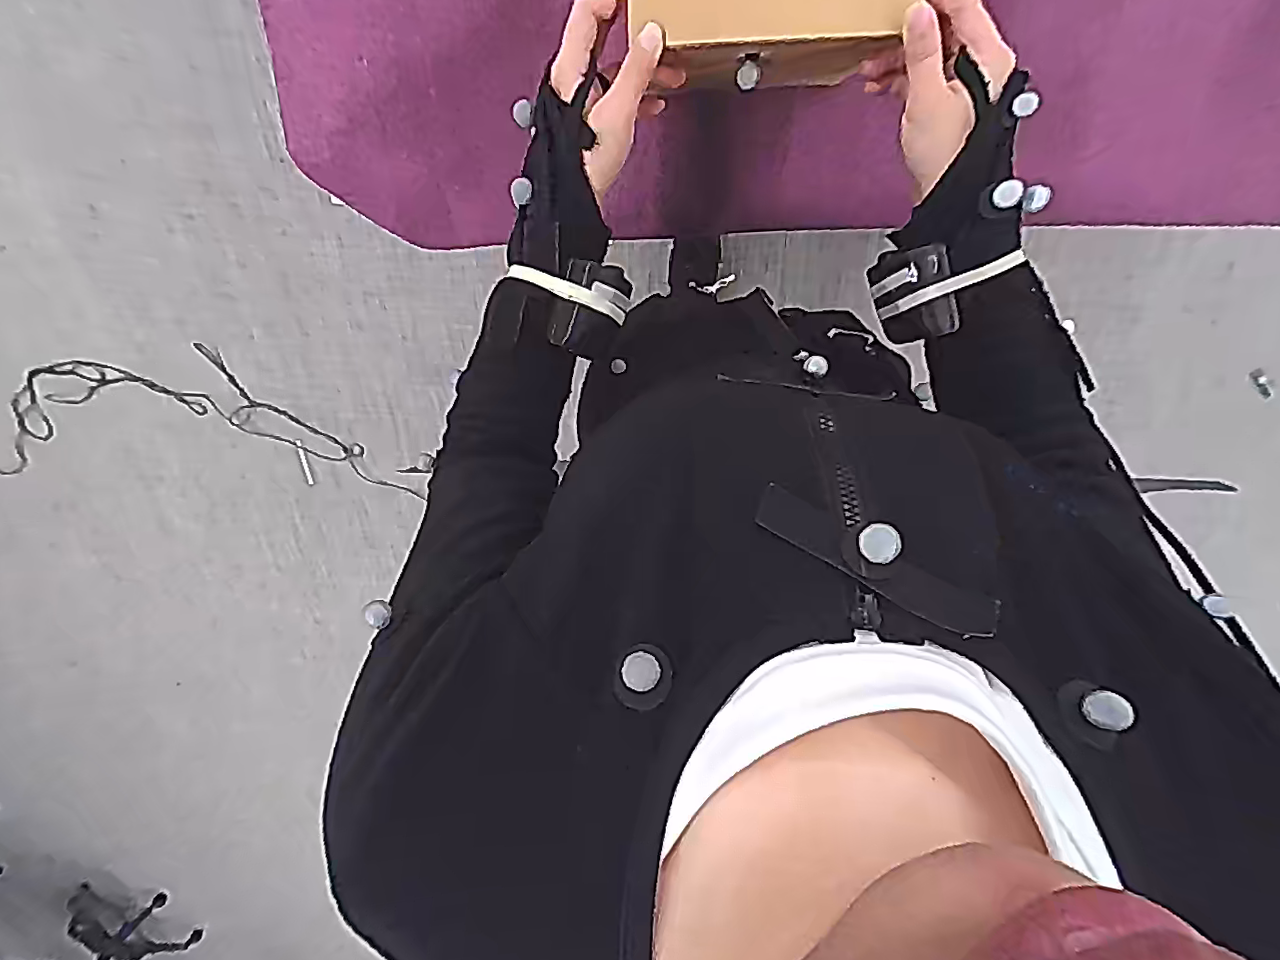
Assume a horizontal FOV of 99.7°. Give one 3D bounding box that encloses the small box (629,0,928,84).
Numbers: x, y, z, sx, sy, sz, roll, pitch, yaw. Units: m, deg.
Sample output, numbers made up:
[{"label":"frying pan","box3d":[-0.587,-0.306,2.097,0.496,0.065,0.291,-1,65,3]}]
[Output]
[{"label":"small box","box3d":[0.081,-0.375,0.354,0.179,0.176,0.168,0,118,3]}]
